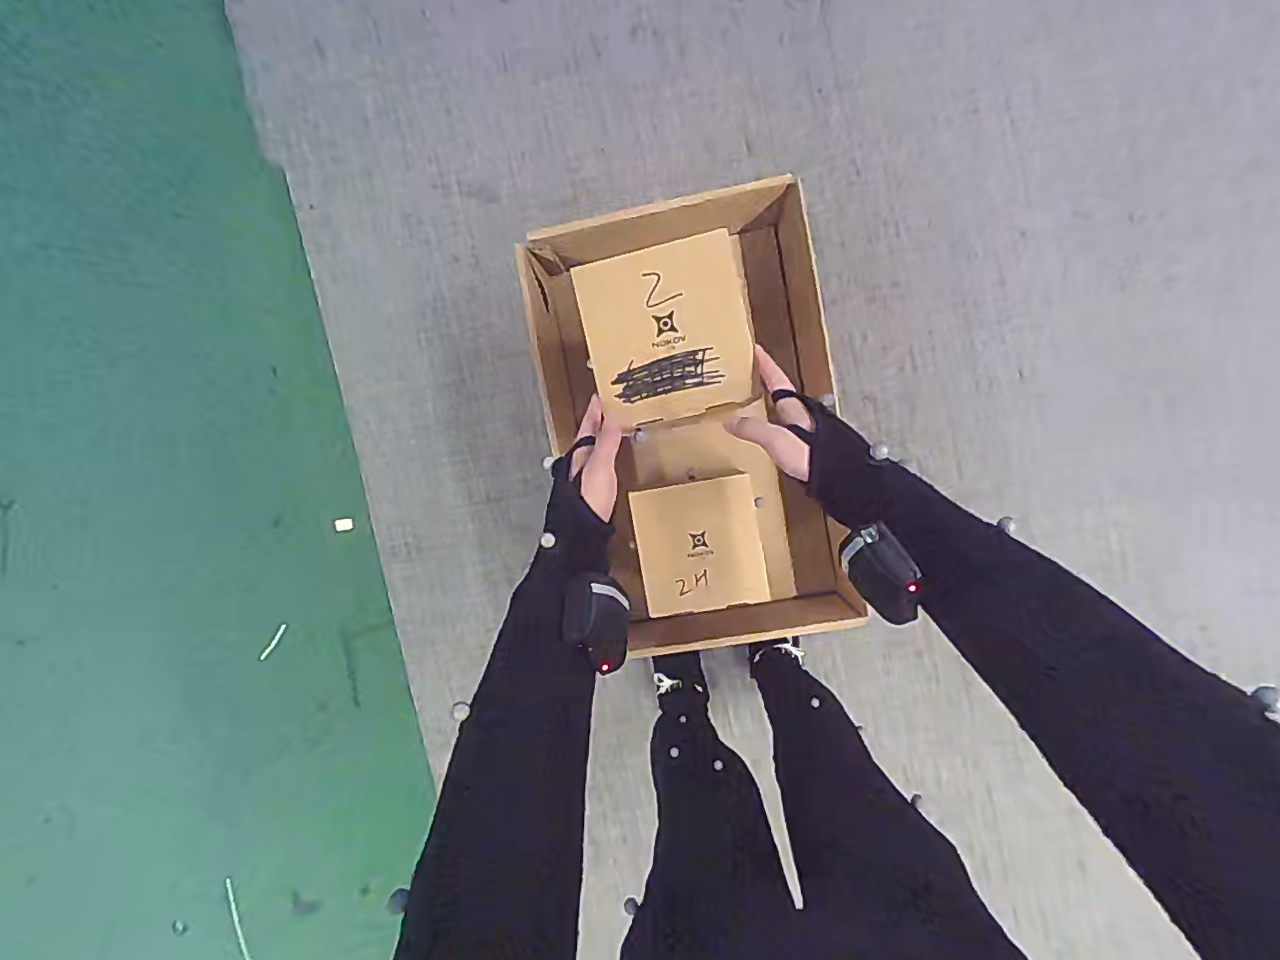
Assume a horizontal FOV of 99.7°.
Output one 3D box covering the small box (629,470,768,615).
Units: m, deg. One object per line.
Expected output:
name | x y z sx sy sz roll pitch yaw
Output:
small box | 0.084 0.082 0.798 0.168 0.176 0.179 -10 92 6

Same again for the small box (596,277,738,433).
small box | 0.040 -0.170 0.794 0.168 0.176 0.179 -11 93 5
